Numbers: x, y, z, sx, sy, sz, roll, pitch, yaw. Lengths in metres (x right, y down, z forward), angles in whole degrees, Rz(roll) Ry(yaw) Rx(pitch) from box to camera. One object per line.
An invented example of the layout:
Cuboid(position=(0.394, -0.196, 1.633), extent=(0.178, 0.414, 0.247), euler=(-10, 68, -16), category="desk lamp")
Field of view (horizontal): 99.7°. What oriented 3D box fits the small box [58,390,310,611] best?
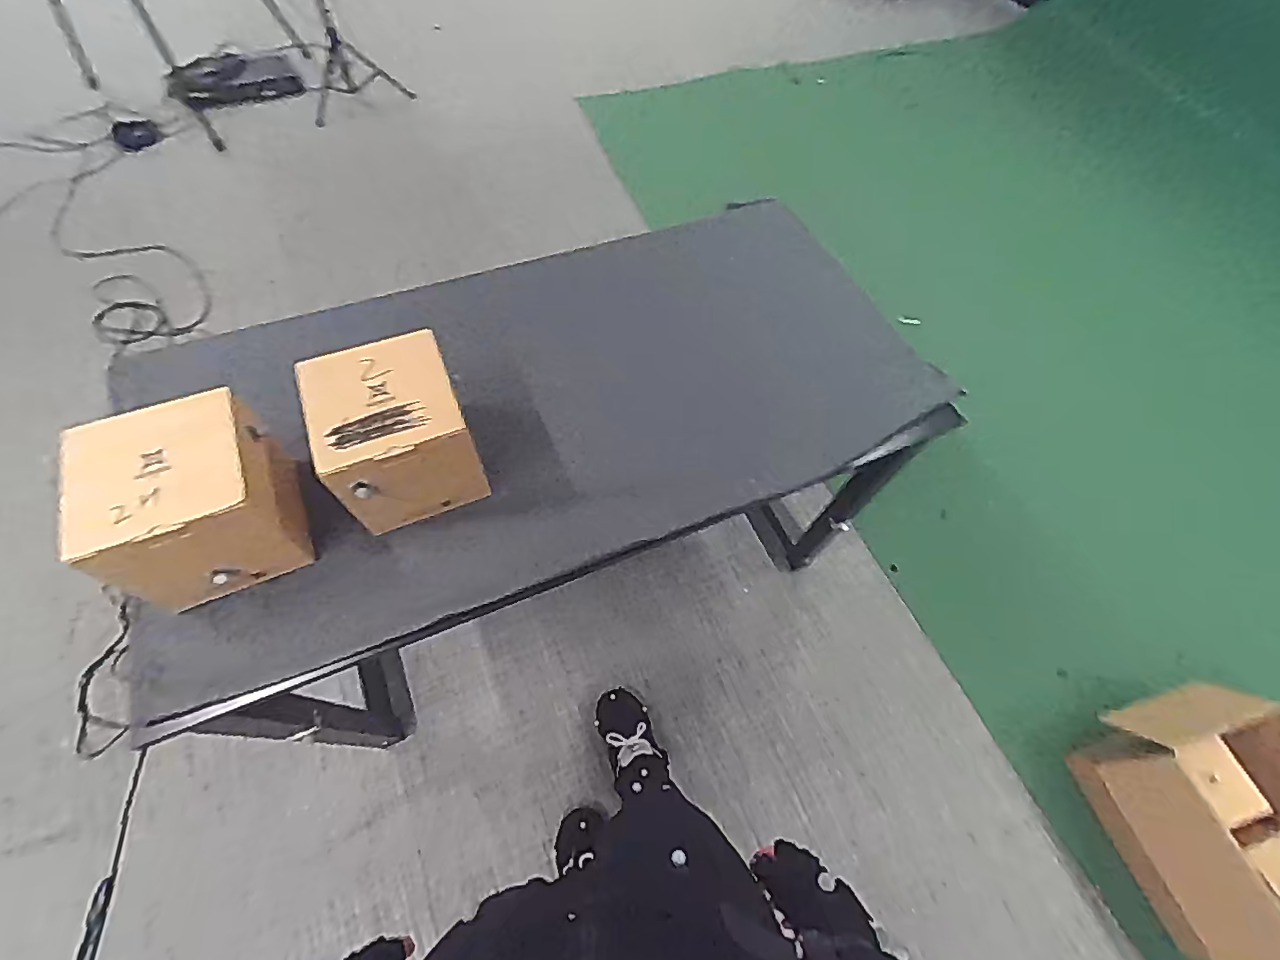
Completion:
Cuboid(position=(-0.528, 0.029, 0.648), extent=(0.168, 0.176, 0.179), euler=(-21, 64, -16), category="small box")
